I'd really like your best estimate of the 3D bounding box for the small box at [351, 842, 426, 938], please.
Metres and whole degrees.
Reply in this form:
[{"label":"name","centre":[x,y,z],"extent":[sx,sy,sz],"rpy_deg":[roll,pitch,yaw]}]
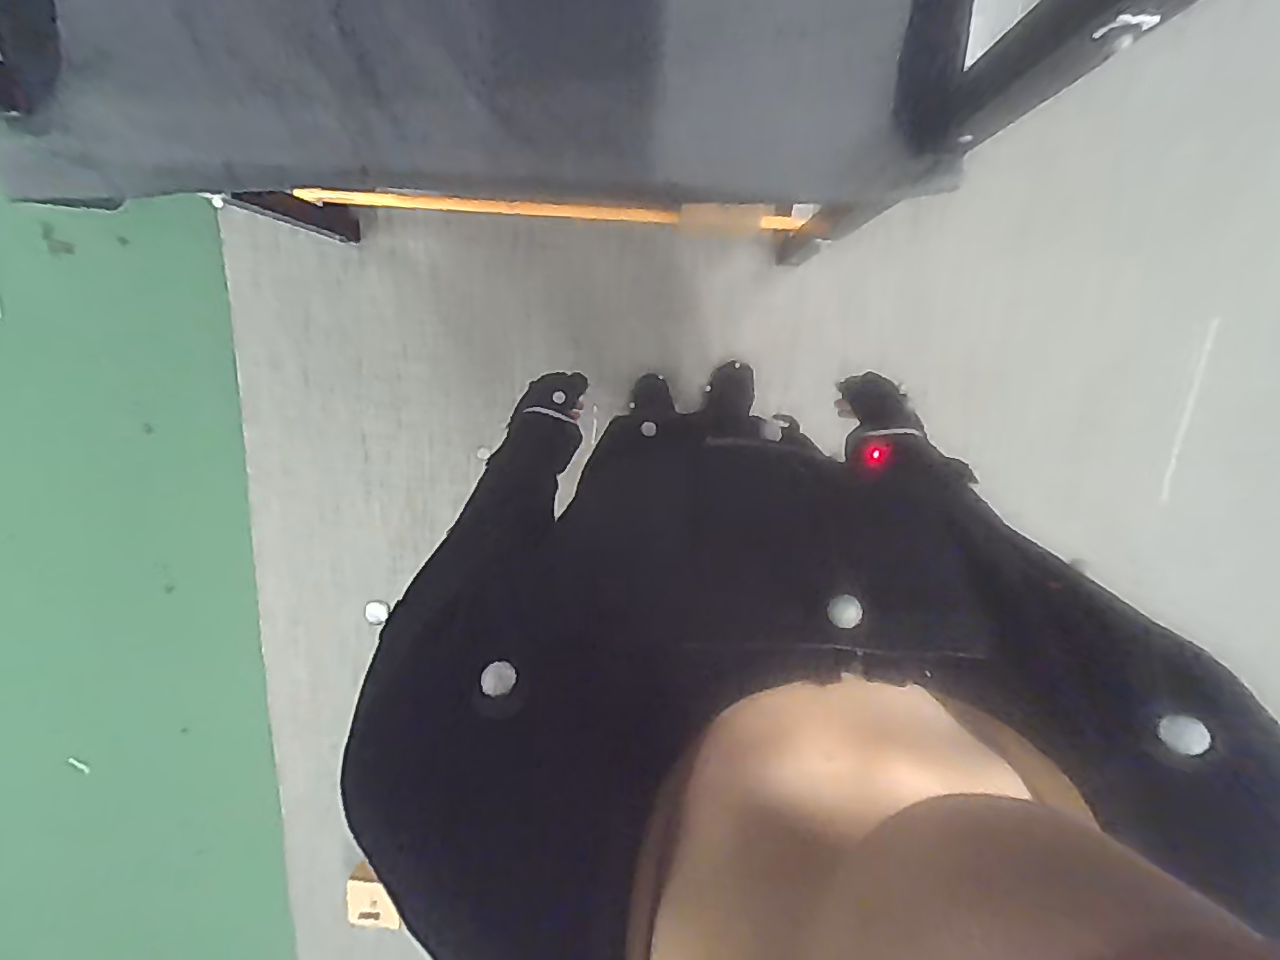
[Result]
[{"label":"small box","centre":[-0.812,1.328,1.757],"extent":[0.168,0.176,0.179],"rpy_deg":[5,102,2]}]
